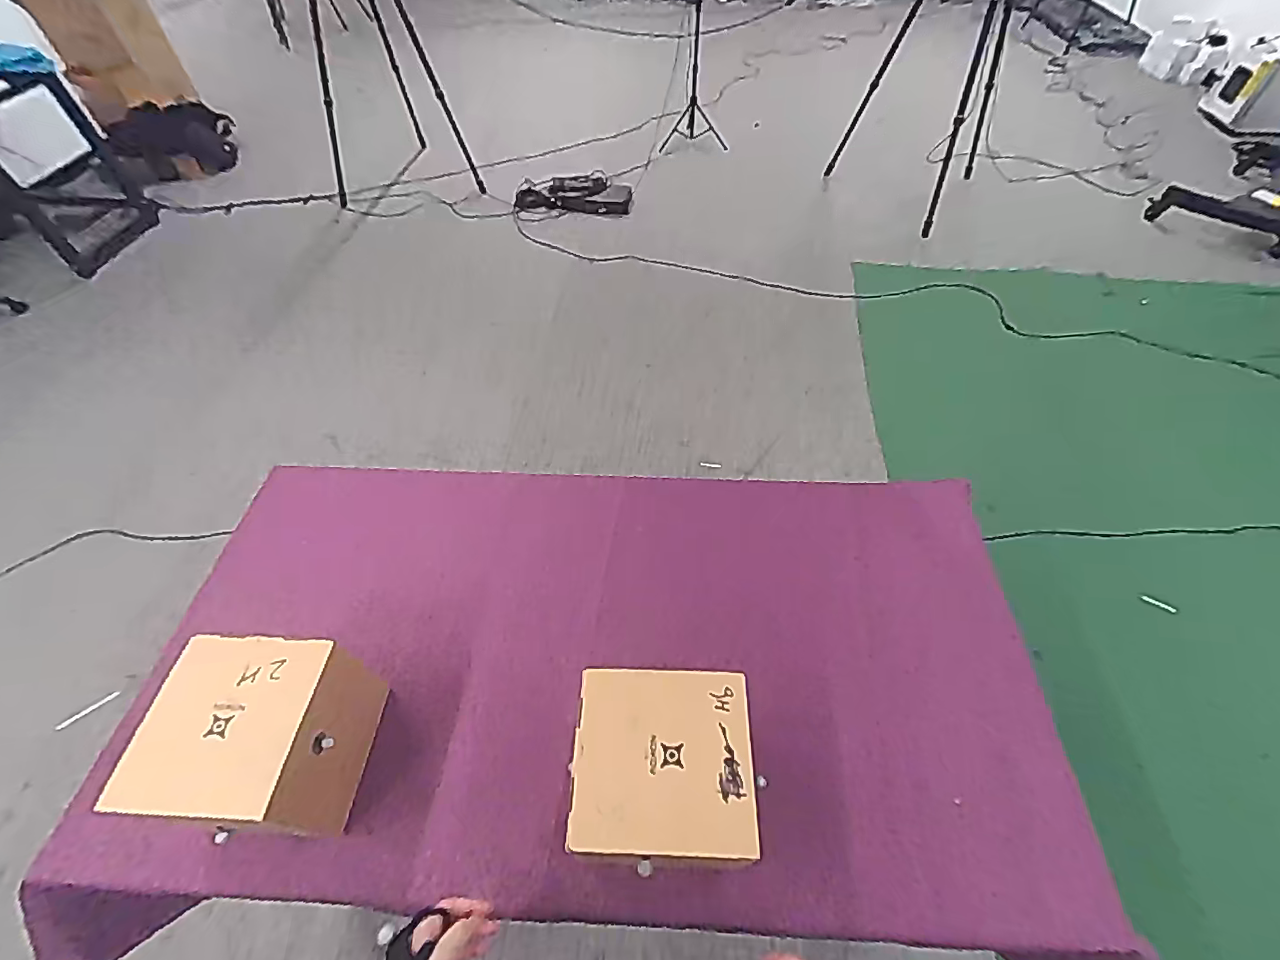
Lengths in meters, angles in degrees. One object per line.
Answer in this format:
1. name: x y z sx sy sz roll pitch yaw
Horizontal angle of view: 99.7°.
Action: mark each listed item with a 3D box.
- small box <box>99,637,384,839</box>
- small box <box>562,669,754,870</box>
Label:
1. small box: -0.424 0.298 0.618 0.168 0.176 0.179 2 51 2
2. small box: 0.022 0.319 0.592 0.179 0.176 0.168 1 52 3
